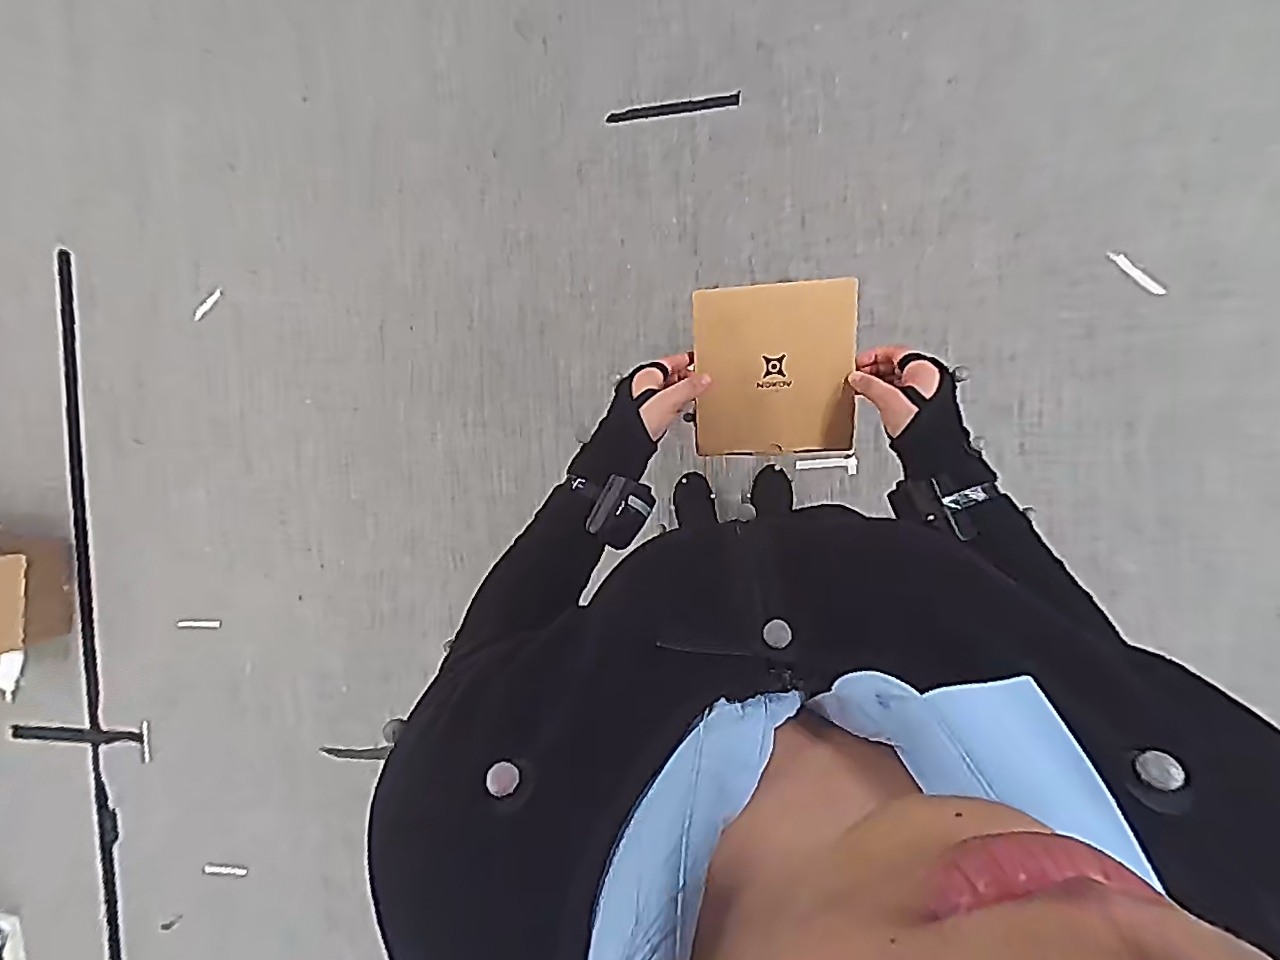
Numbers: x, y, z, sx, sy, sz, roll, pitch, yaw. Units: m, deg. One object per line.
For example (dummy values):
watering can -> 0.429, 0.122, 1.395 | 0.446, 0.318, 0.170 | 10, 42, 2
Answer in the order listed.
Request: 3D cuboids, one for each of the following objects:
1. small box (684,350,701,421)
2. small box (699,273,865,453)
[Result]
small box -> 0.215, -0.247, 1.401 | 0.168, 0.176, 0.179 | -14, 90, 9
small box -> 0.153, -0.132, 0.632 | 0.168, 0.176, 0.179 | -2, 103, 8
